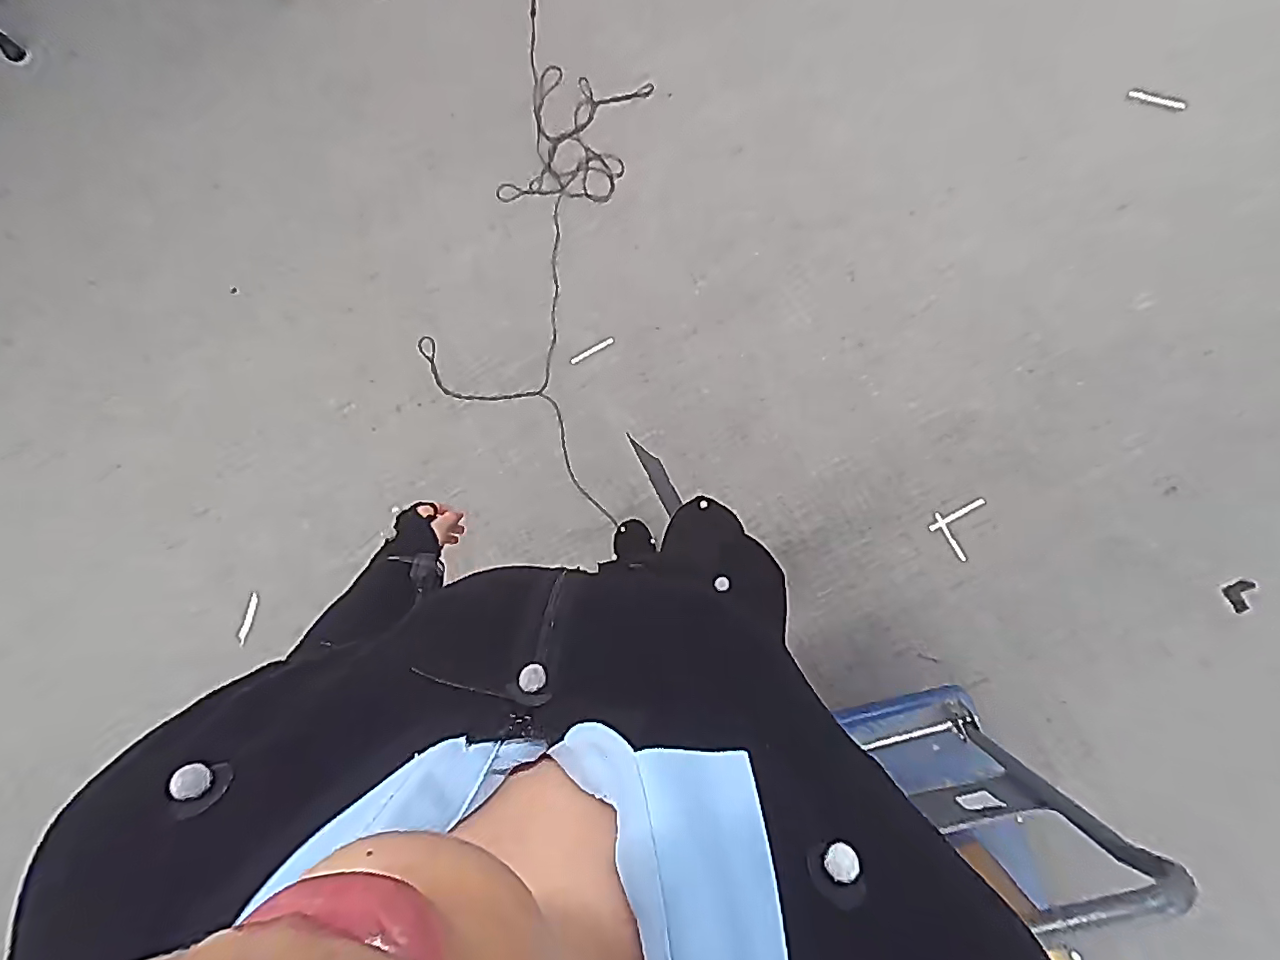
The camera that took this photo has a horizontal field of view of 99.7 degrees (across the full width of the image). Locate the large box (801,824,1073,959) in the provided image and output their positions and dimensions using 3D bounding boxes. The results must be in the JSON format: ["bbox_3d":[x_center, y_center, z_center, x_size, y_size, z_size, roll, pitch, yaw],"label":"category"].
[{"bbox_3d":[0.583,0.957,1.066,0.408,0.320,0.320,-18,84,5],"label":"large box"}]
